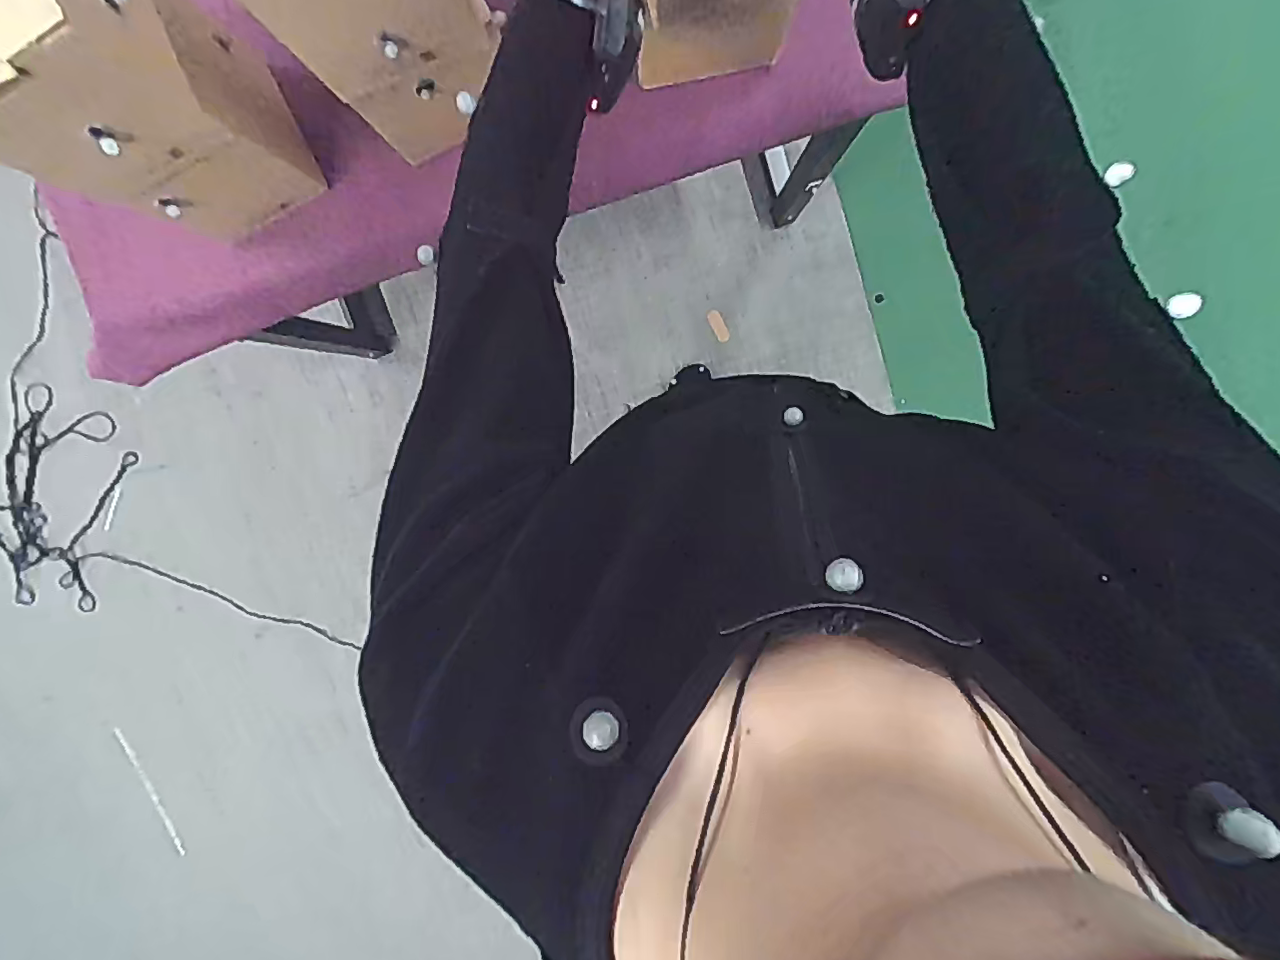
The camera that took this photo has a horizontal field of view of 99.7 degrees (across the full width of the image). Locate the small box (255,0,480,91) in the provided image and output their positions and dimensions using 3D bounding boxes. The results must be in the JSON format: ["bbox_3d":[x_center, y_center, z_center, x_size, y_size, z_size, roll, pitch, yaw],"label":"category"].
[{"bbox_3d":[-0.260,-0.487,0.458,0.168,0.176,0.179,-17,98,5],"label":"small box"}]

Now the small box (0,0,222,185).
[{"bbox_3d":[-0.535,-0.396,0.480,0.168,0.176,0.179,-25,97,5],"label":"small box"}]

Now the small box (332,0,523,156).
[{"bbox_3d":[-0.260,-0.516,0.620,0.179,0.176,0.168,-24,97,5],"label":"small box"}]

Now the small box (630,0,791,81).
[{"bbox_3d":[0.072,-0.587,0.597,0.179,0.176,0.168,-8,97,5],"label":"small box"}]
